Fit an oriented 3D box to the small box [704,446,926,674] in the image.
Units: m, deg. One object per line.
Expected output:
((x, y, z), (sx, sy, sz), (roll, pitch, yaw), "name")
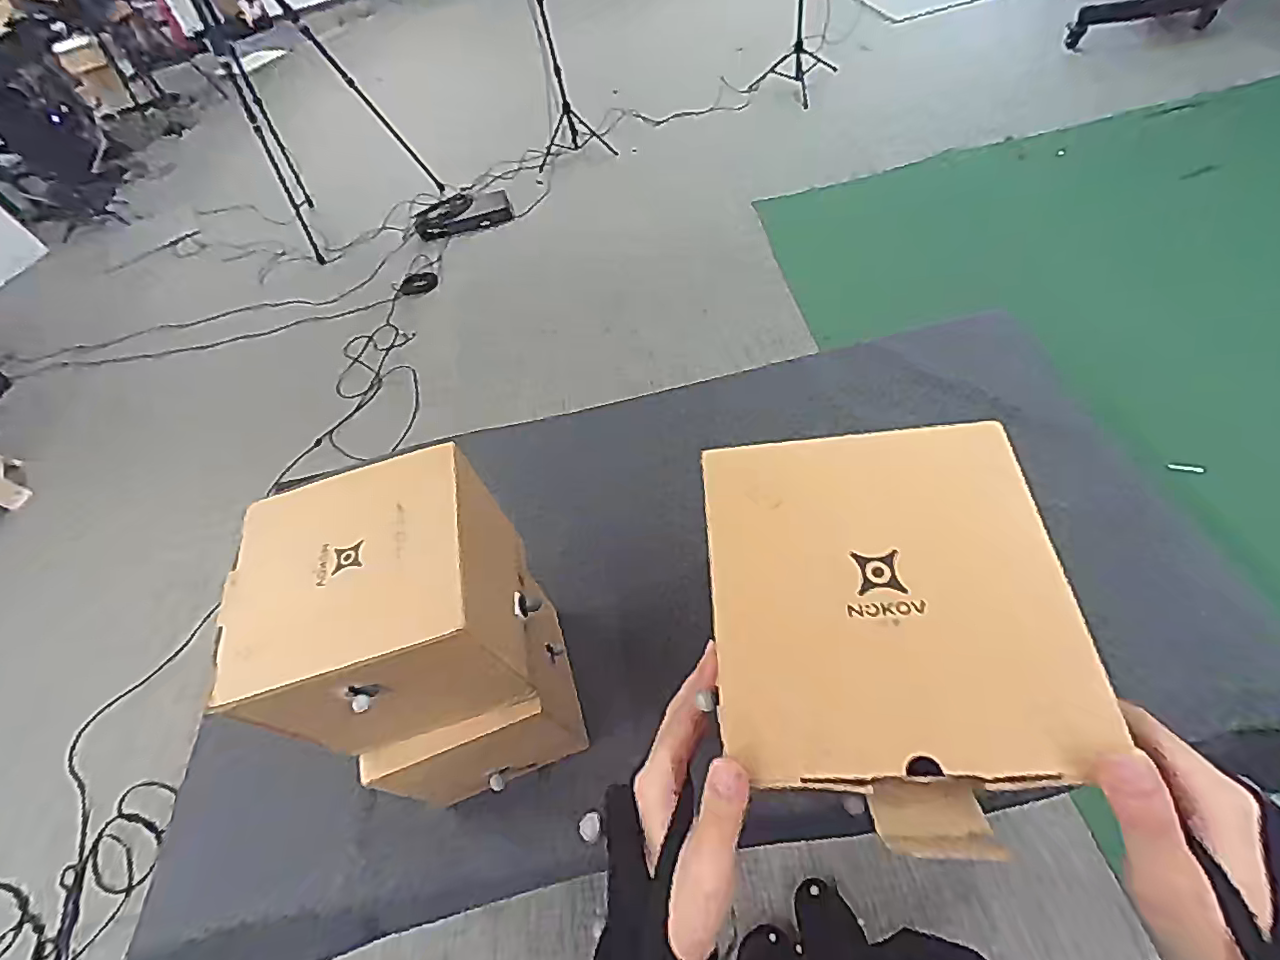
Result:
((0.173, 0.096, 0.581), (0.168, 0.176, 0.179), (-13, 54, 4), "small box")

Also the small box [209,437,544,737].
((-0.197, 0.098, 0.453), (0.179, 0.176, 0.168), (-17, 55, -2), "small box")

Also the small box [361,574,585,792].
((-0.171, 0.204, 0.575), (0.168, 0.176, 0.179), (-21, 54, -3), "small box")
